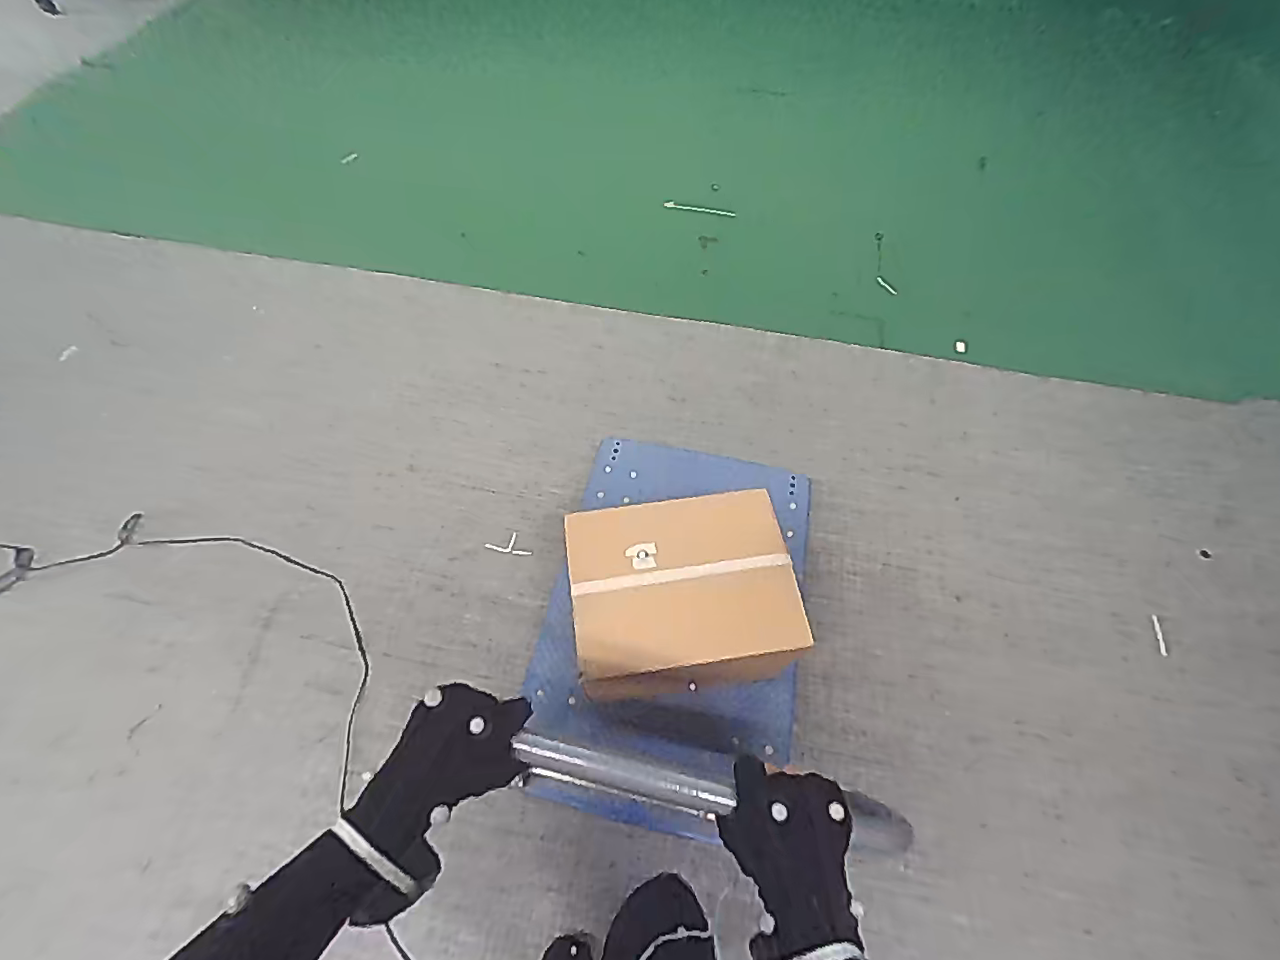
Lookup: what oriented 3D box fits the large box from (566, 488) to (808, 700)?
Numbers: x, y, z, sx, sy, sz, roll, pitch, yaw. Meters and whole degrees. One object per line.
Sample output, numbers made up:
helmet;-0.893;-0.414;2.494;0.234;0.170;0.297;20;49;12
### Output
large box;0.077;0.248;1.126;0.408;0.320;0.320;-8;60;-4
